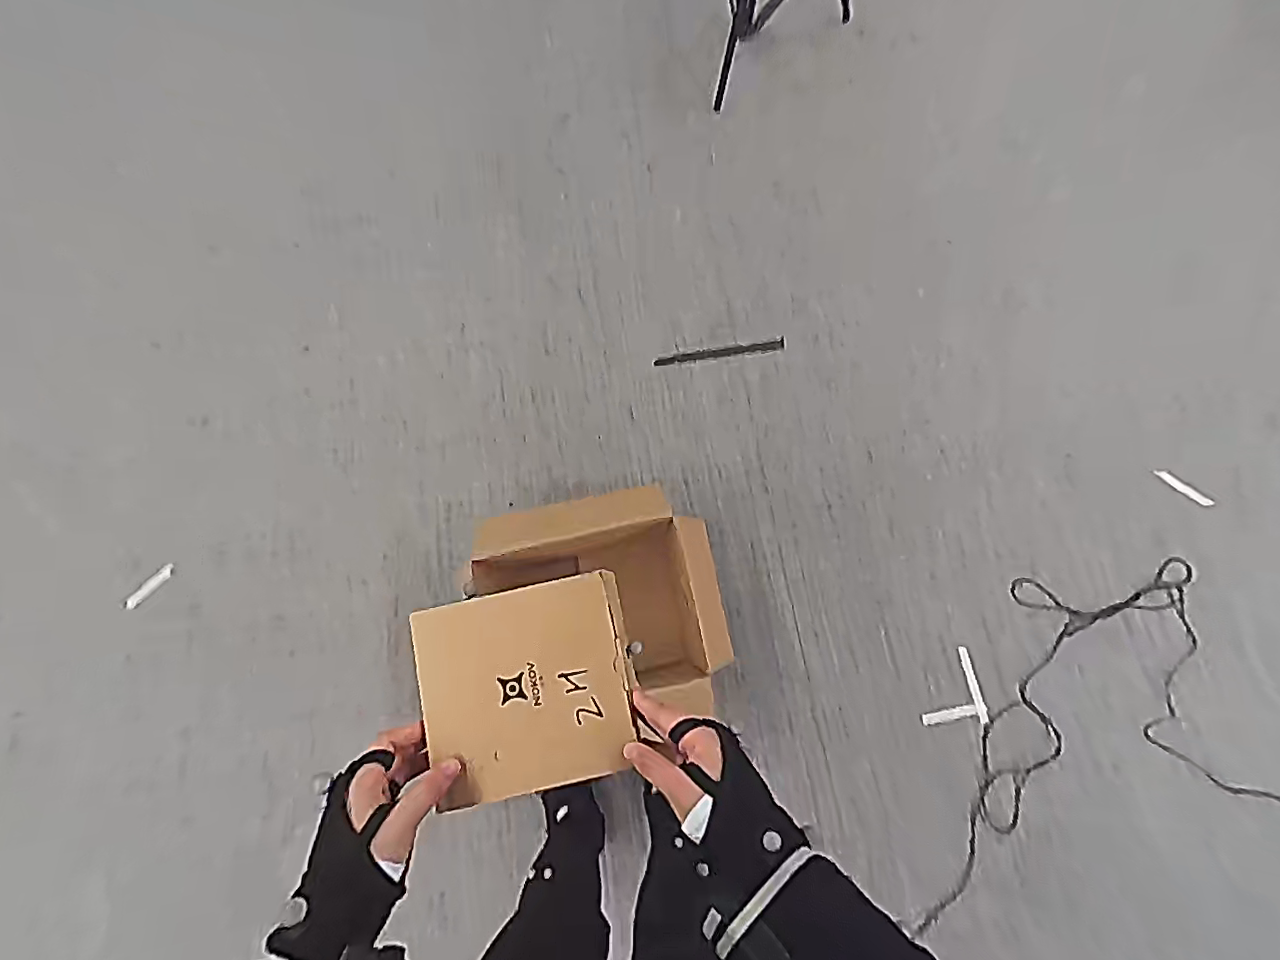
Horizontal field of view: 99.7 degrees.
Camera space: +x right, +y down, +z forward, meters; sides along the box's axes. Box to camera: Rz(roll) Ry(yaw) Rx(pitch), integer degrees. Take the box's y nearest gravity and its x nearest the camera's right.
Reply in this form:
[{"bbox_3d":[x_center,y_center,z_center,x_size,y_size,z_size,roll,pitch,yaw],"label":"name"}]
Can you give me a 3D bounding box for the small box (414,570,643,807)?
[{"bbox_3d":[-0.096,0.190,0.537,0.179,0.176,0.168,-12,80,-2],"label":"small box"}]
